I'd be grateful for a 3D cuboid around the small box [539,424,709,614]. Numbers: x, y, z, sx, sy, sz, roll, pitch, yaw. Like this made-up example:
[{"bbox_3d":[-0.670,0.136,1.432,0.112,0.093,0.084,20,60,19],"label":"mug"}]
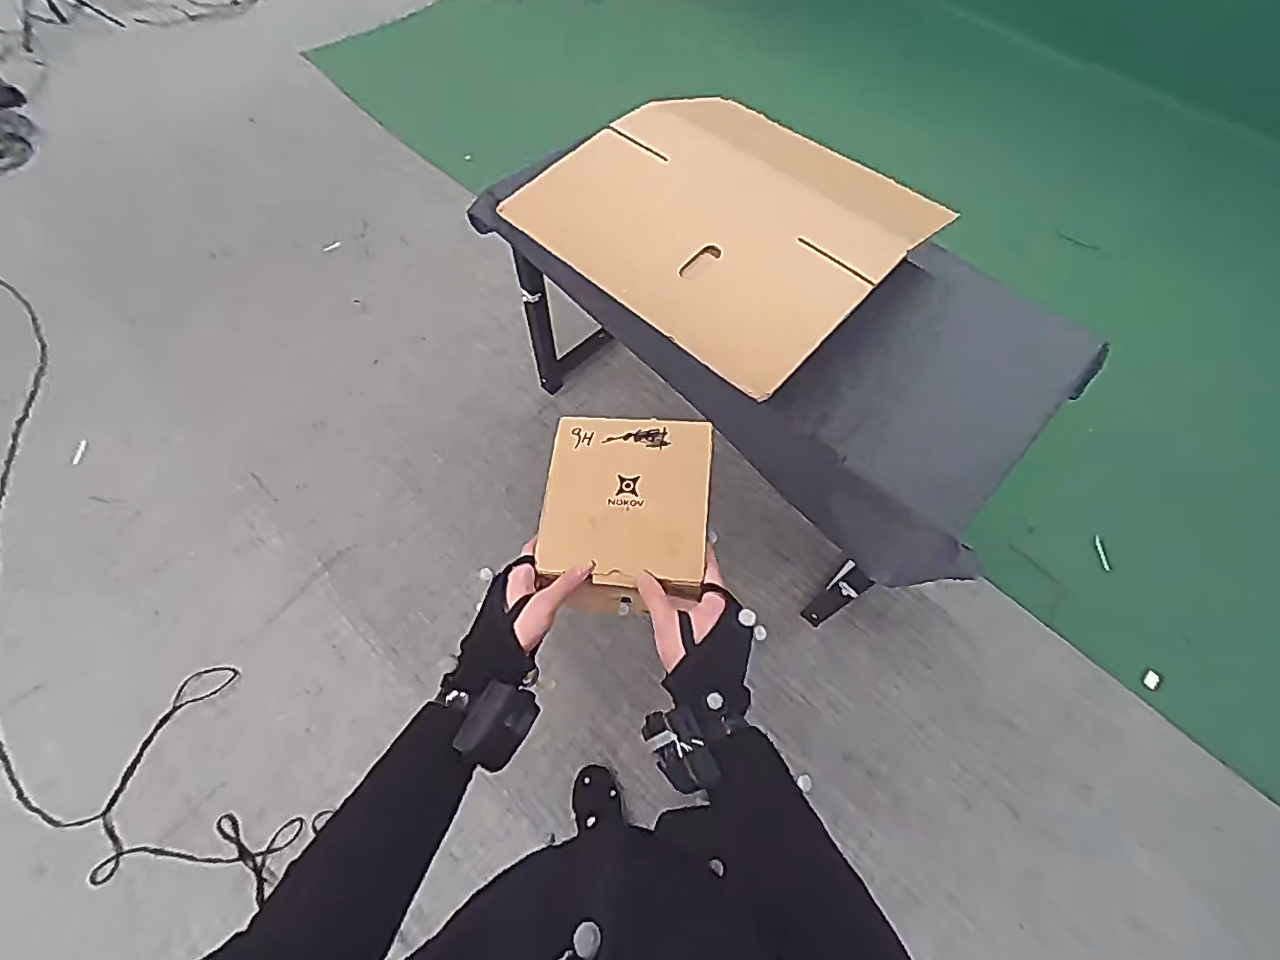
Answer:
[{"bbox_3d":[-0.005,0.052,0.622,0.168,0.176,0.179,1,64,6],"label":"small box"}]
